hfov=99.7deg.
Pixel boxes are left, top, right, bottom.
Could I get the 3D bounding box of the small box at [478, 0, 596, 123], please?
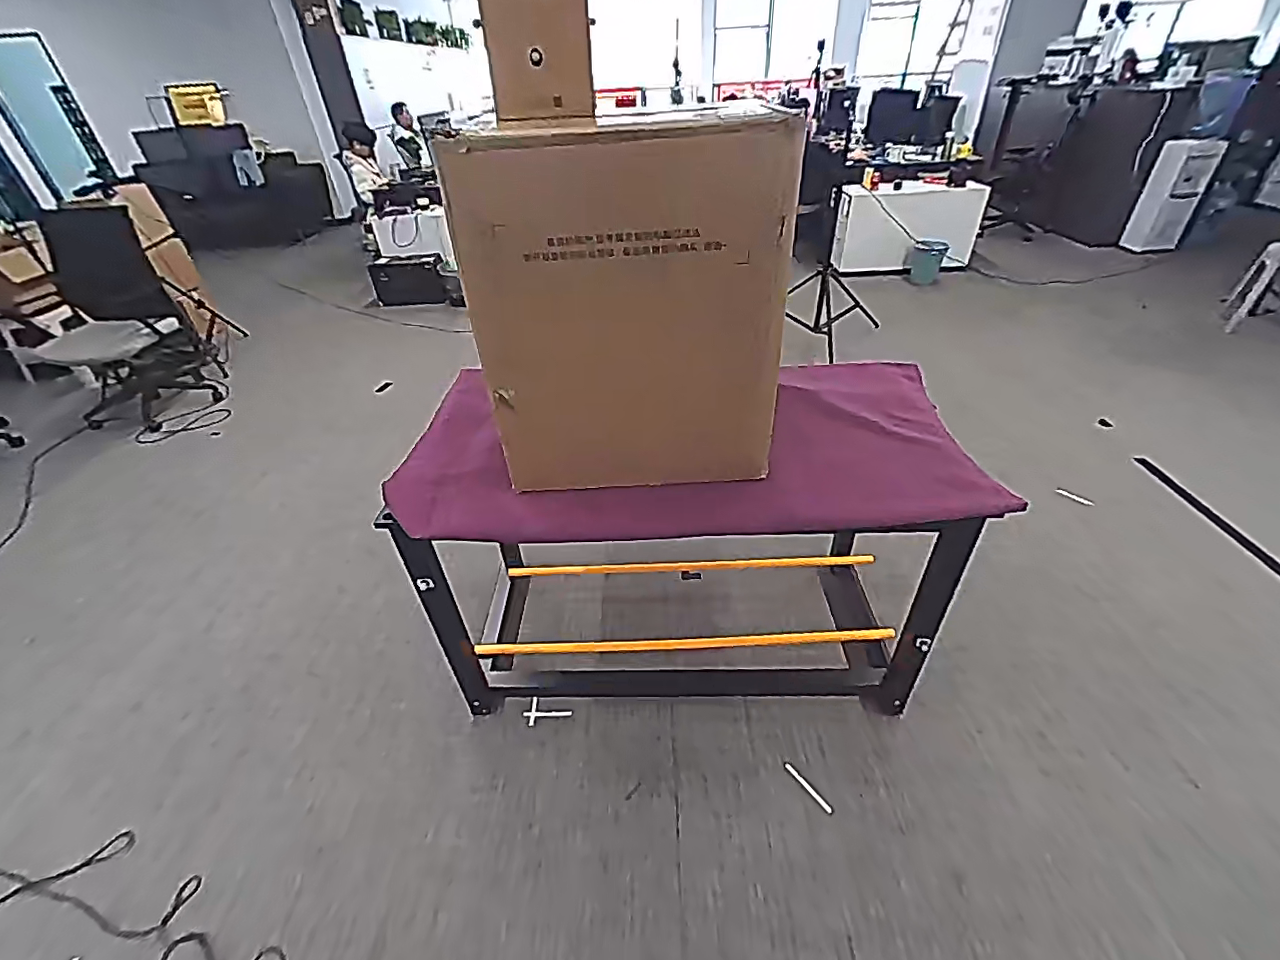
[{"bbox_3d":[-0.164,-0.704,0.907,0.168,0.176,0.179,-5,37,-5],"label":"small box"}]
